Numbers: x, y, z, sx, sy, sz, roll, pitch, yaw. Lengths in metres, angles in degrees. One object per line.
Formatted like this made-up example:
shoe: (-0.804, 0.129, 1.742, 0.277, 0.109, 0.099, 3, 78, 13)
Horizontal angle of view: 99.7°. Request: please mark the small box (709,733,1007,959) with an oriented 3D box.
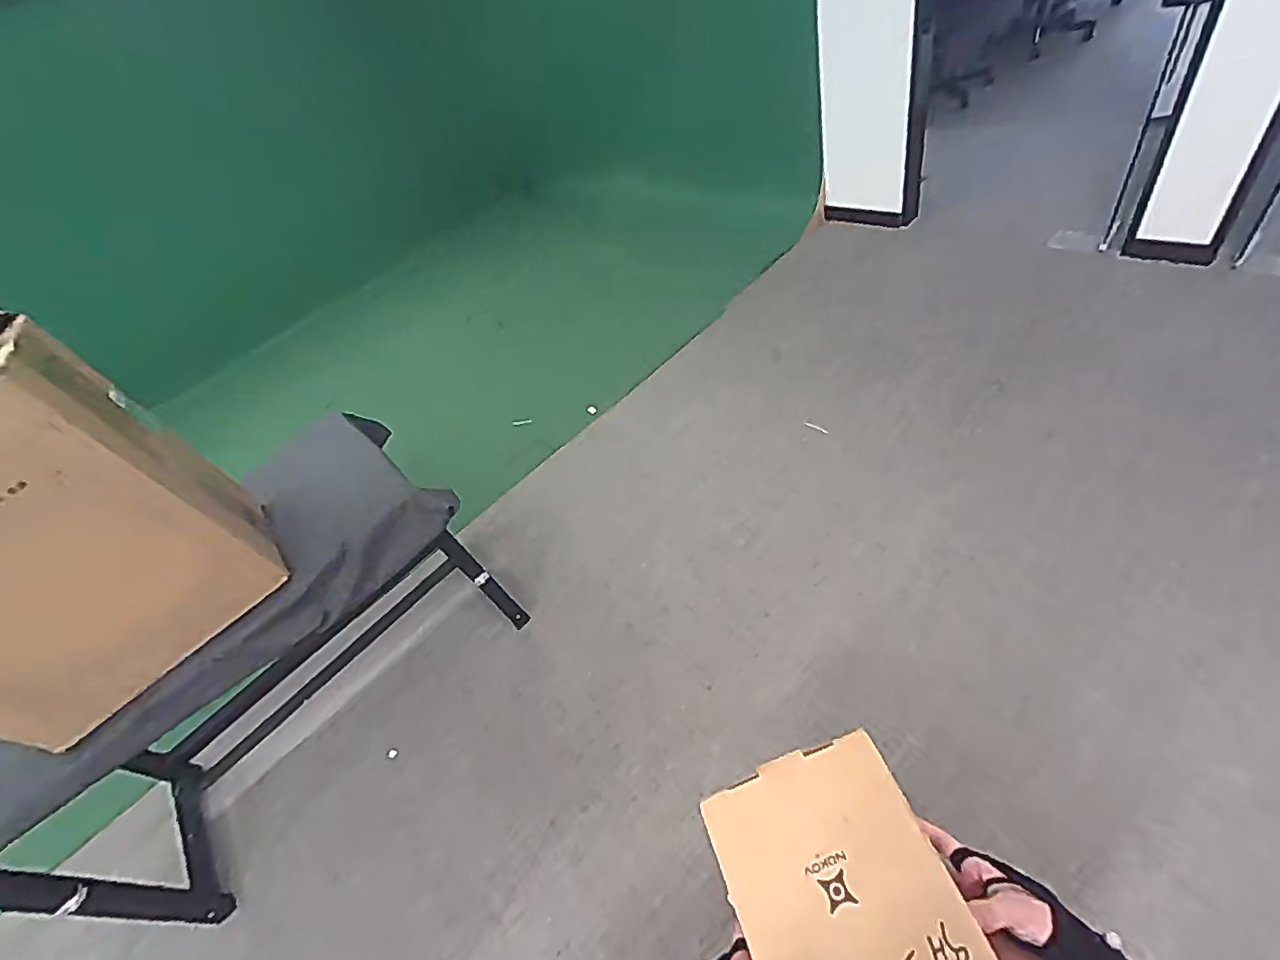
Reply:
small box: (0.182, 0.364, 0.486, 0.168, 0.176, 0.179, -26, 49, 1)
